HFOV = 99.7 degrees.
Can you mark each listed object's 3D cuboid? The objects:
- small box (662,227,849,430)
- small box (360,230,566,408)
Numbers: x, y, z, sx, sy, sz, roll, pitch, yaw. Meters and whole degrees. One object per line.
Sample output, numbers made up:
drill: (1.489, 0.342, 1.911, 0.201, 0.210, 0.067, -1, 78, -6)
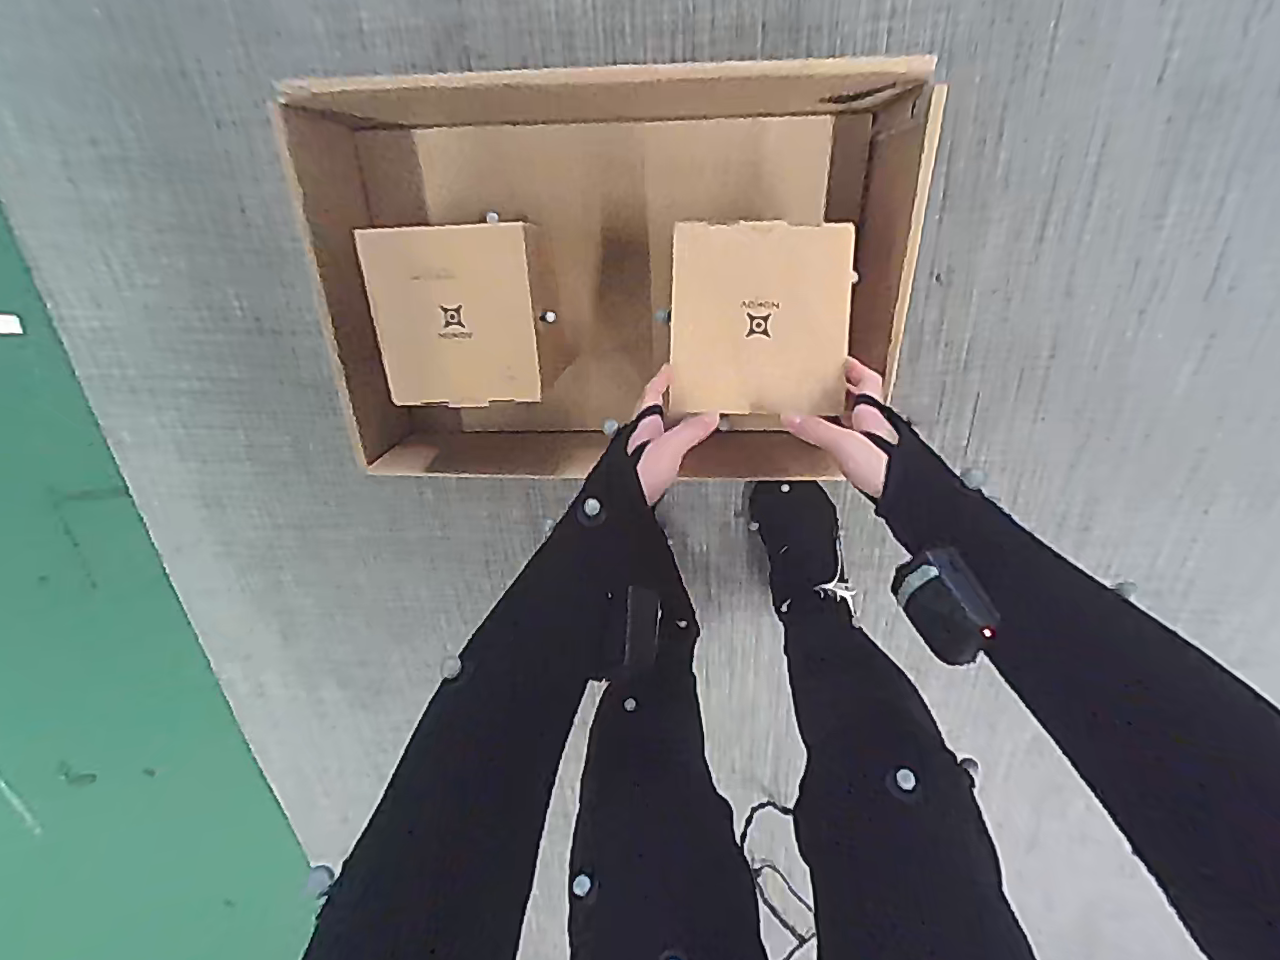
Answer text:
small box: (0.111, -0.146, 0.576, 0.168, 0.176, 0.179, 1, 91, 4)
small box: (-0.185, -0.192, 0.628, 0.168, 0.176, 0.179, -1, 114, 3)
